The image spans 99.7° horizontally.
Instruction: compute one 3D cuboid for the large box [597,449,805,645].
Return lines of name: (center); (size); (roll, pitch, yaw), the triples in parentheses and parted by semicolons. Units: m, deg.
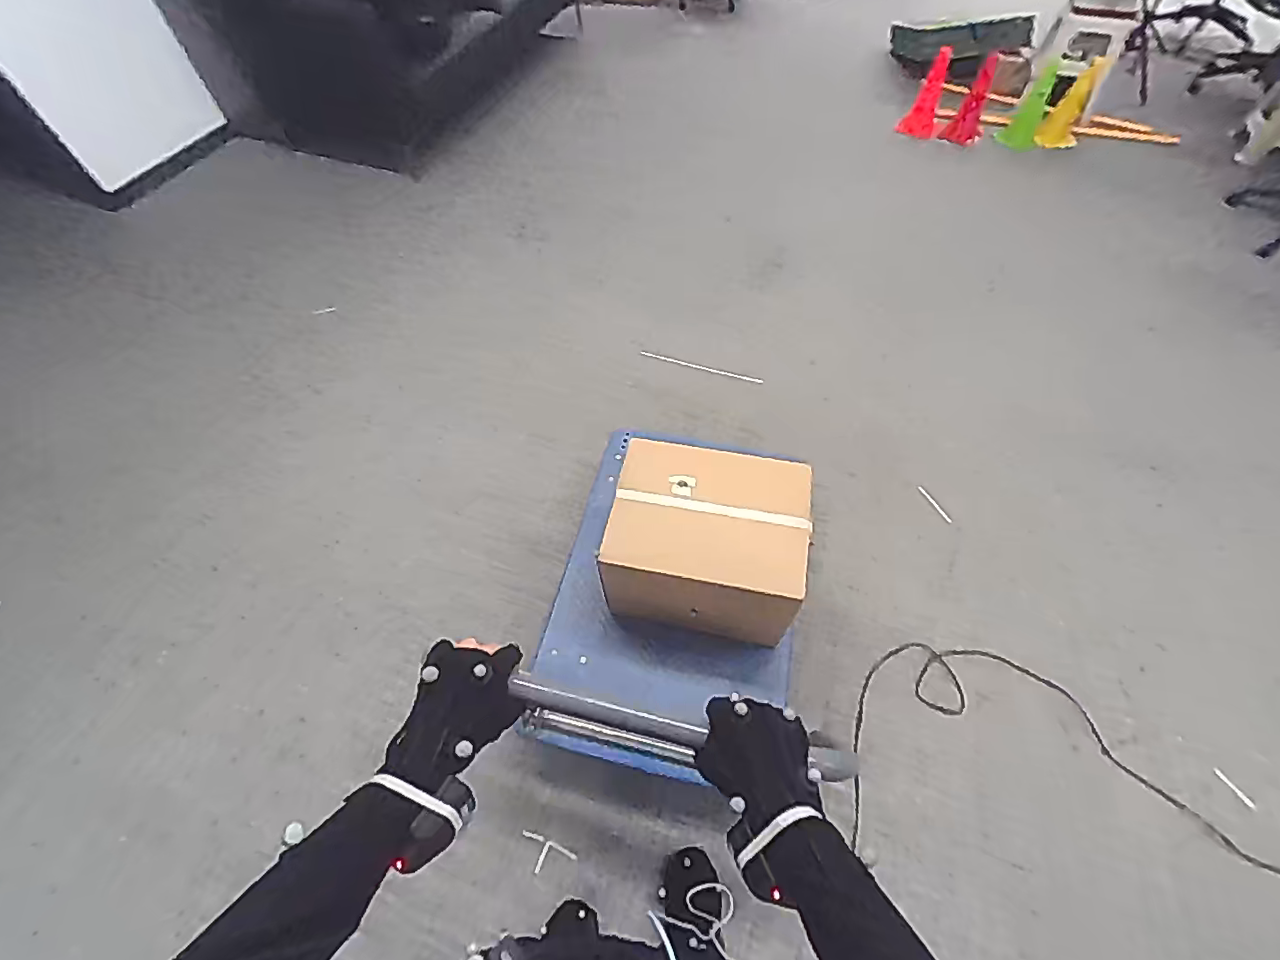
large box: (0.147, 0.160, 1.251); (0.408, 0.320, 0.320); (9, 57, 9)
